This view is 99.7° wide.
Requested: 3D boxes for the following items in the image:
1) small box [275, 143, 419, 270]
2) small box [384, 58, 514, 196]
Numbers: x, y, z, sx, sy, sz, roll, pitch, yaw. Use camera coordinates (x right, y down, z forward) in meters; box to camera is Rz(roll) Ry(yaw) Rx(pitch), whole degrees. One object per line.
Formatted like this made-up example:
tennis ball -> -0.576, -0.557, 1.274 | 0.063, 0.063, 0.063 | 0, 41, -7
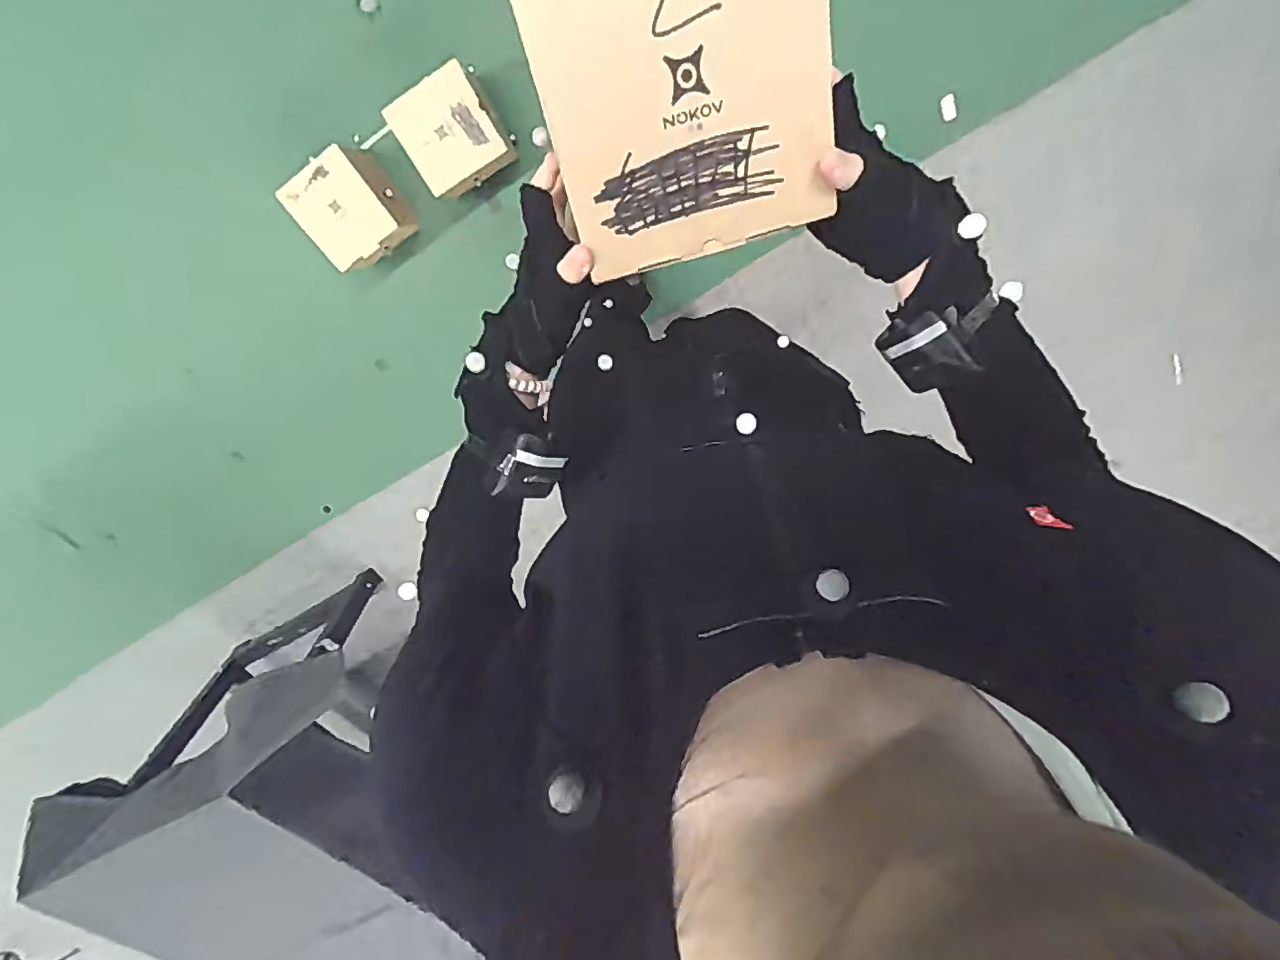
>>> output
small box -> -0.601, -0.575, 1.138 | 0.168, 0.176, 0.179 | -30, 117, 11
small box -> -0.369, -0.699, 1.089 | 0.179, 0.176, 0.168 | -26, 116, 10
